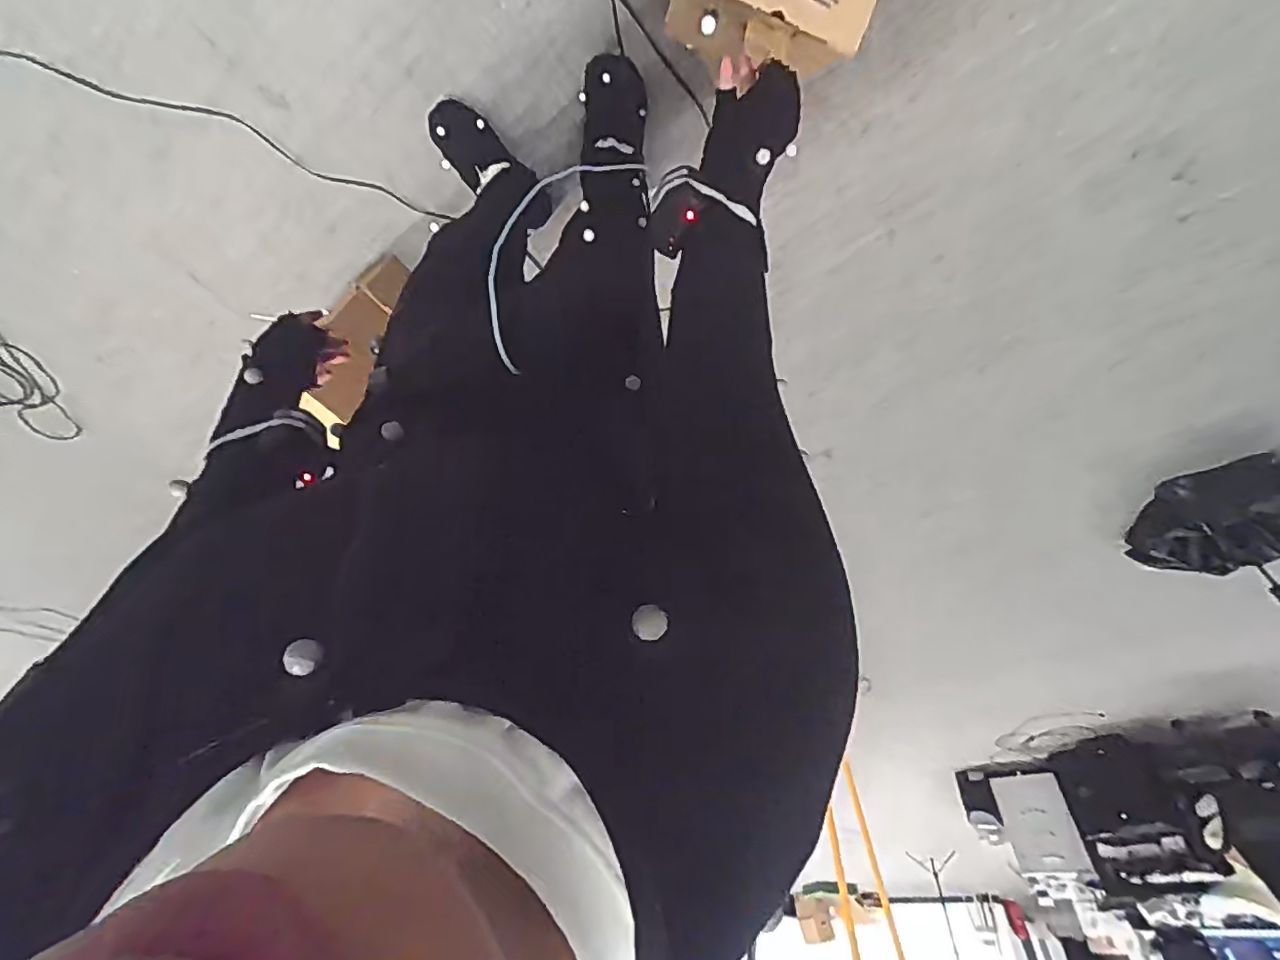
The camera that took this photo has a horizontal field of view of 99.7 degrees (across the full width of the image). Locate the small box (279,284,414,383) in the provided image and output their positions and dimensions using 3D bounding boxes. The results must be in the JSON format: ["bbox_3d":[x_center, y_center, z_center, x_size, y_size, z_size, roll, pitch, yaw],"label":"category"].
[{"bbox_3d":[-0.645,-0.300,1.212,0.168,0.176,0.179,-21,131,25],"label":"small box"}]

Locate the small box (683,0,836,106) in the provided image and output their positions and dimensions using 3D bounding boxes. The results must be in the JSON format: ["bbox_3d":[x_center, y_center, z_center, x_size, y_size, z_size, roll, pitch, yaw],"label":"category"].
[{"bbox_3d":[0.154,-0.680,0.761,0.168,0.176,0.179,-21,132,23],"label":"small box"}]

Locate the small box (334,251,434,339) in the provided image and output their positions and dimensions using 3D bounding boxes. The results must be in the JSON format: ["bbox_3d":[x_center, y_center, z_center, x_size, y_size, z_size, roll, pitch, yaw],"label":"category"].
[{"bbox_3d":[-0.631,-0.423,1.321,0.179,0.176,0.168,-22,131,25],"label":"small box"}]

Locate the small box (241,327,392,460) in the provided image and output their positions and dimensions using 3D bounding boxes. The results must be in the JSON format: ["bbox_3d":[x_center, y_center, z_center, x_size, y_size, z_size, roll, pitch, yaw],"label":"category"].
[{"bbox_3d":[-0.648,-0.176,1.107,0.168,0.176,0.179,-21,131,25],"label":"small box"}]
